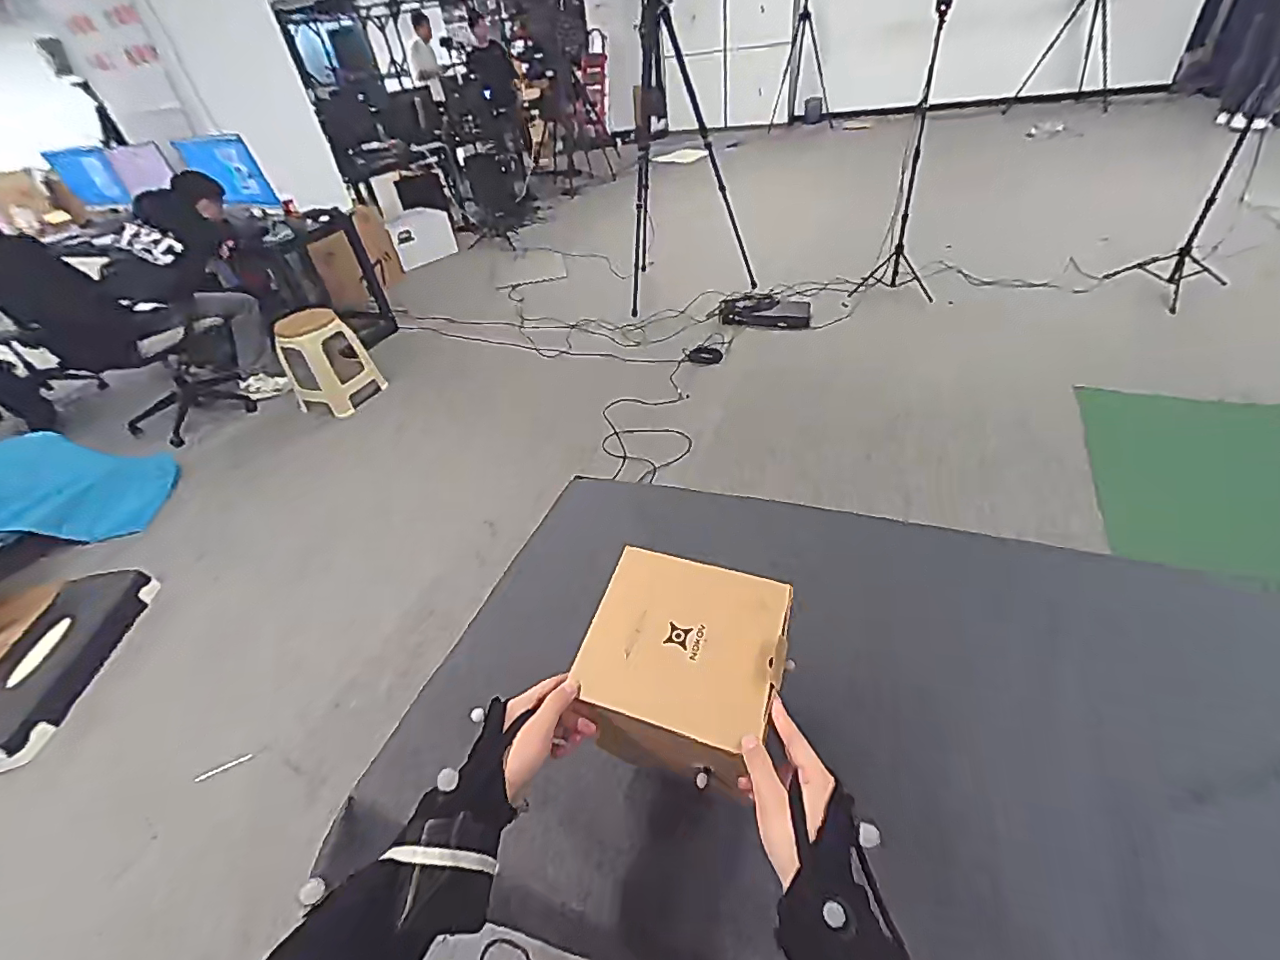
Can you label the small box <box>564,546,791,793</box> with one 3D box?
[{"bbox_3d":[0.049,0.196,0.558,0.179,0.176,0.168,10,48,19],"label":"small box"}]
